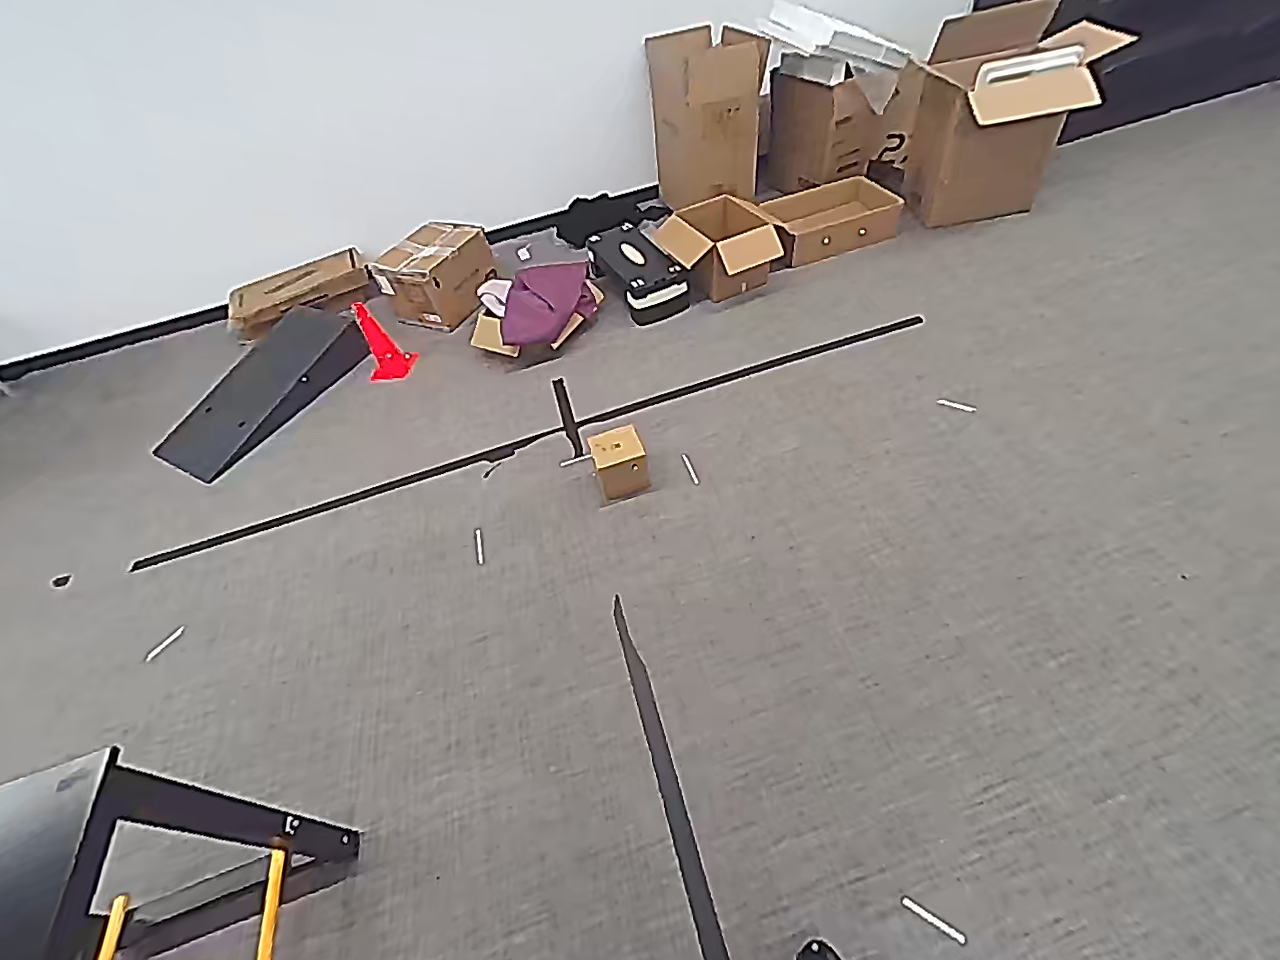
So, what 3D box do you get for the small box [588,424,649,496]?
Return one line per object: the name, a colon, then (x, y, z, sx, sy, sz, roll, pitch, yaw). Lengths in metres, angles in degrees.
small box: (-0.073, -0.069, 1.952, 0.179, 0.176, 0.168, -18, 49, -5)
